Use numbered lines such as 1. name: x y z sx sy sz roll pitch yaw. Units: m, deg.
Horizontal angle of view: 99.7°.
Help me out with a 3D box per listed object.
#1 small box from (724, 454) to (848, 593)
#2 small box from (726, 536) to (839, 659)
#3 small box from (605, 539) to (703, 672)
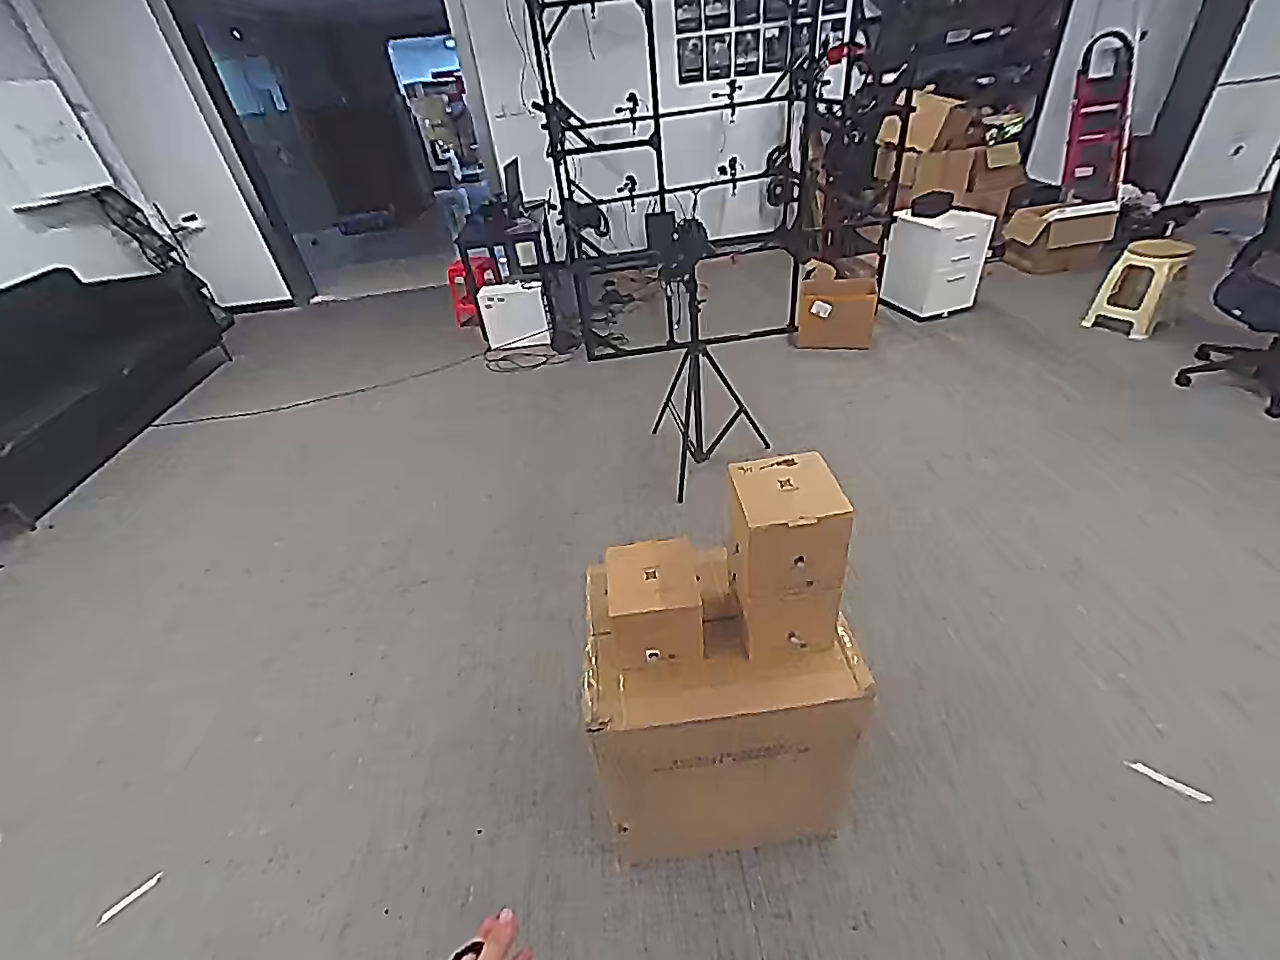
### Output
1. small box: 0.248 0.081 0.947 0.168 0.176 0.179 -8 37 1
2. small box: 0.264 0.215 1.041 0.168 0.176 0.179 -9 37 0
3. small box: 0.026 0.241 1.050 0.168 0.176 0.179 -9 38 -1
